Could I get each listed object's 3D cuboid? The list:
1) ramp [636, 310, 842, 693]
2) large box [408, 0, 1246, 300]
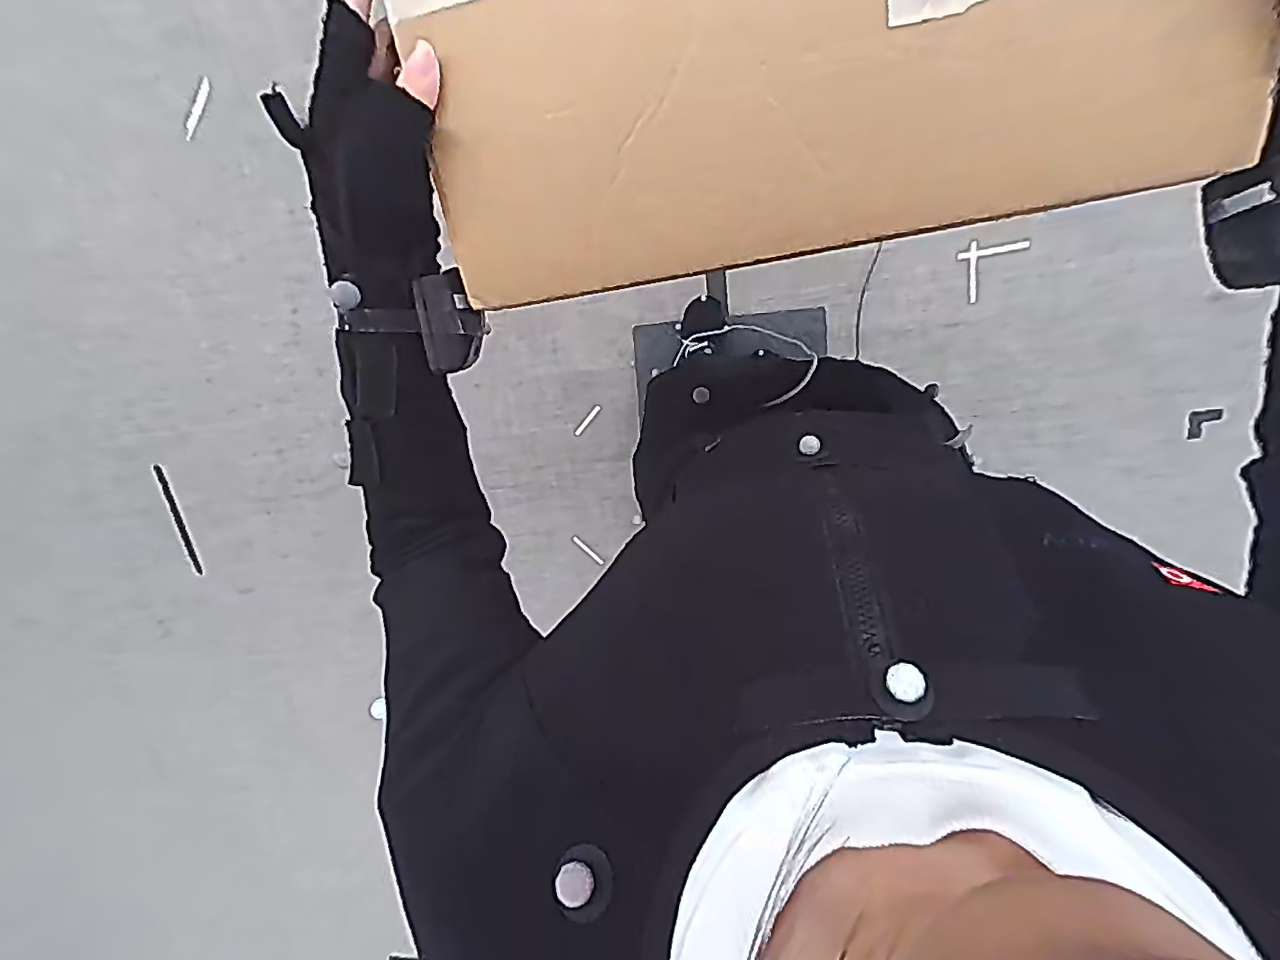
[{"bbox_3d":[0.261,0.080,1.439,0.509,0.206,0.991,-5,104,11],"label":"ramp"},{"bbox_3d":[0.085,-0.334,0.391,0.408,0.320,0.320,-7,111,10],"label":"large box"}]
